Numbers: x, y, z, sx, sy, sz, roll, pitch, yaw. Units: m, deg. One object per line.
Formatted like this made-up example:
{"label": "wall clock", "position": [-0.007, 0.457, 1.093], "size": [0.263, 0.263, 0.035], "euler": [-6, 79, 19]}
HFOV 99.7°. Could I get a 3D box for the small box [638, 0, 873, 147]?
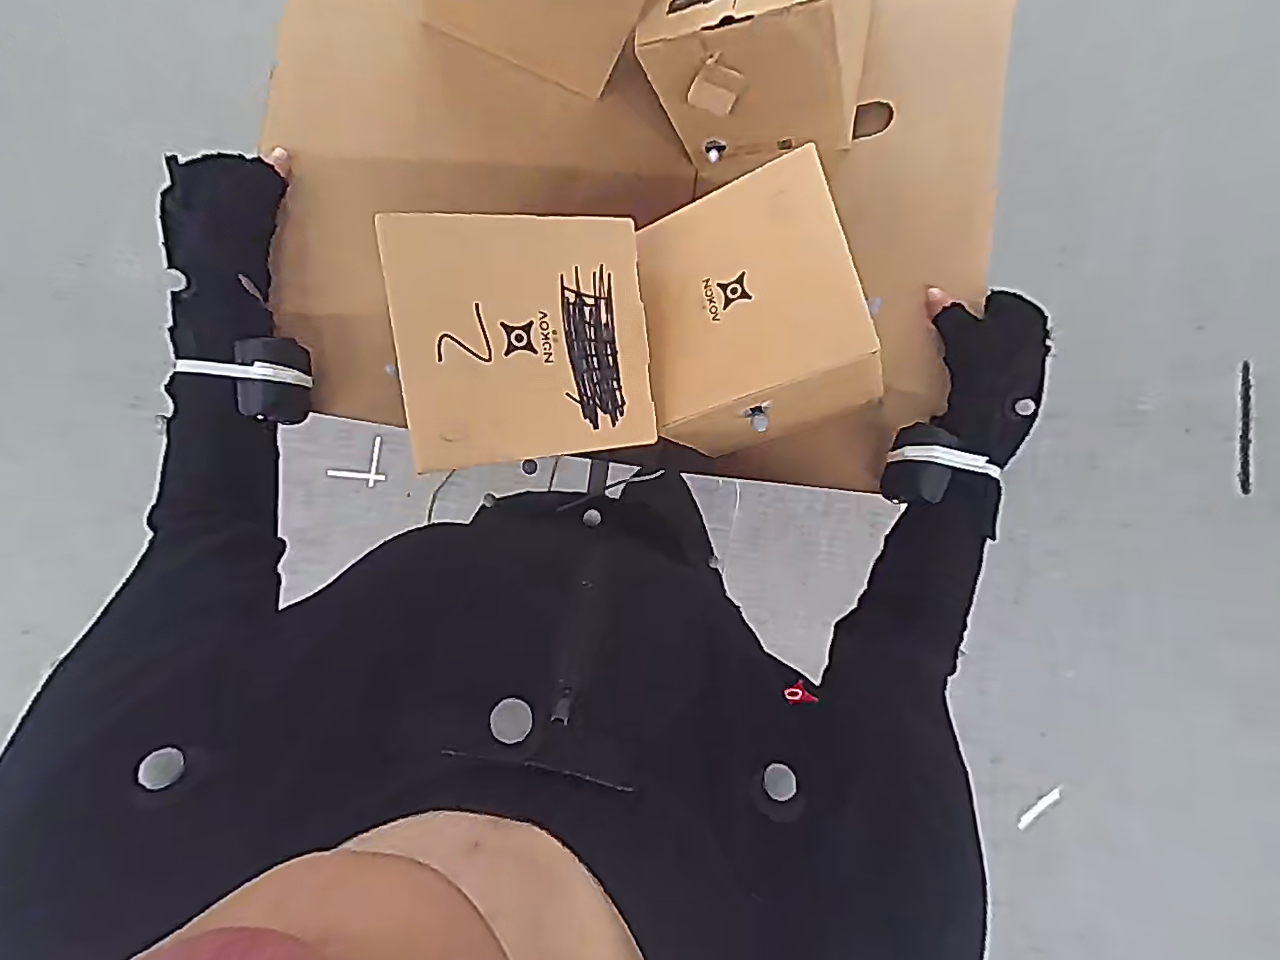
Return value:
{"label": "small box", "position": [0.118, -0.443, 0.504], "size": [0.168, 0.176, 0.179], "euler": [9, 87, 25]}
